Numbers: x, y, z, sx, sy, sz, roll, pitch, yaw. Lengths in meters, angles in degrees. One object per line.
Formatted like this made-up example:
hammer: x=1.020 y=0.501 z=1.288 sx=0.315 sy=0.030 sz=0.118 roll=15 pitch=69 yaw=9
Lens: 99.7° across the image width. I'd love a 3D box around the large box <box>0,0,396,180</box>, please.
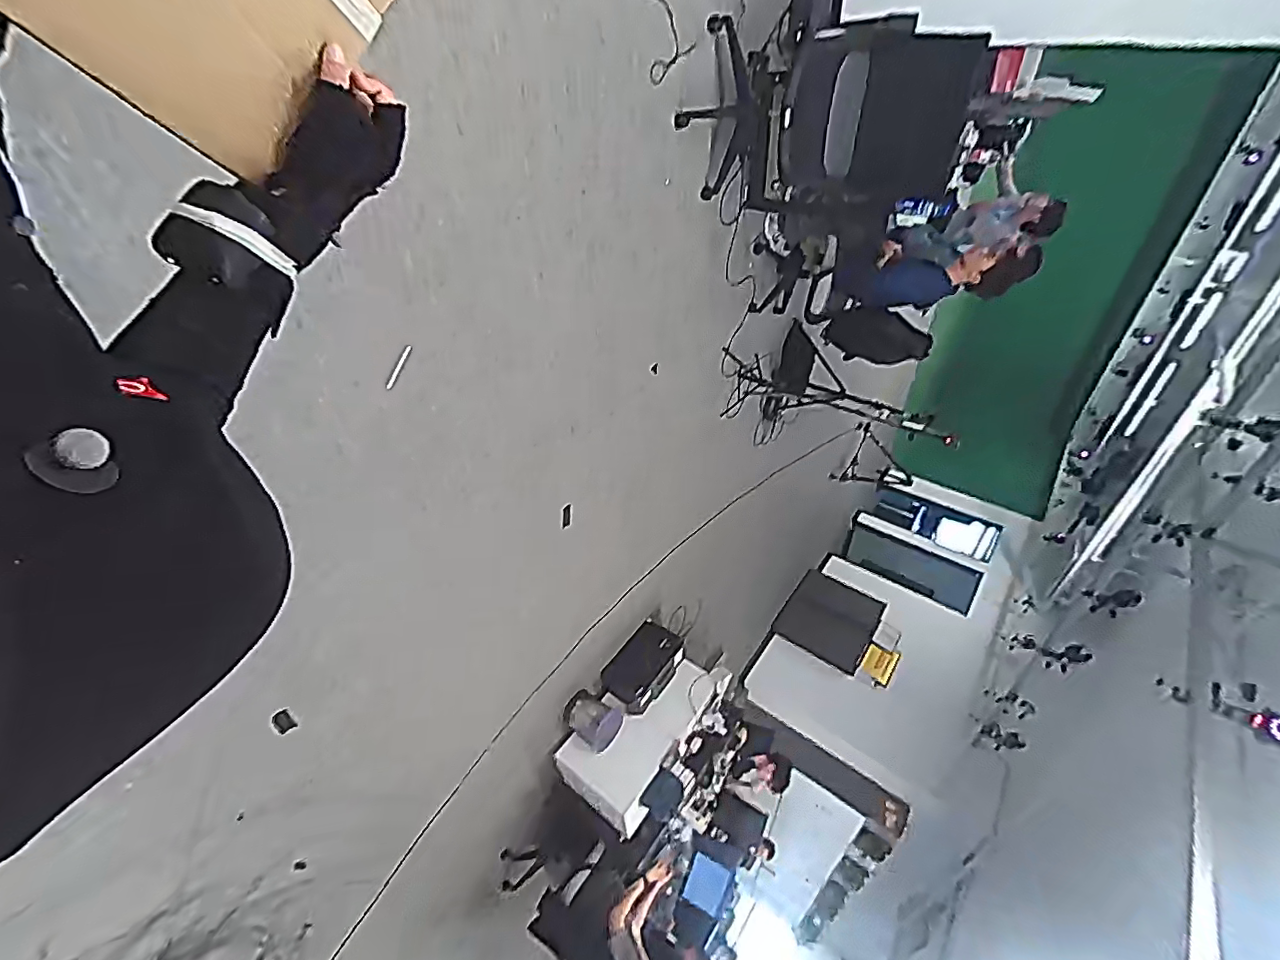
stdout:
large box: x=-0.403 y=-0.493 z=0.336 sx=0.320 sy=0.320 sz=0.408 roll=-53 pitch=152 yaw=3
